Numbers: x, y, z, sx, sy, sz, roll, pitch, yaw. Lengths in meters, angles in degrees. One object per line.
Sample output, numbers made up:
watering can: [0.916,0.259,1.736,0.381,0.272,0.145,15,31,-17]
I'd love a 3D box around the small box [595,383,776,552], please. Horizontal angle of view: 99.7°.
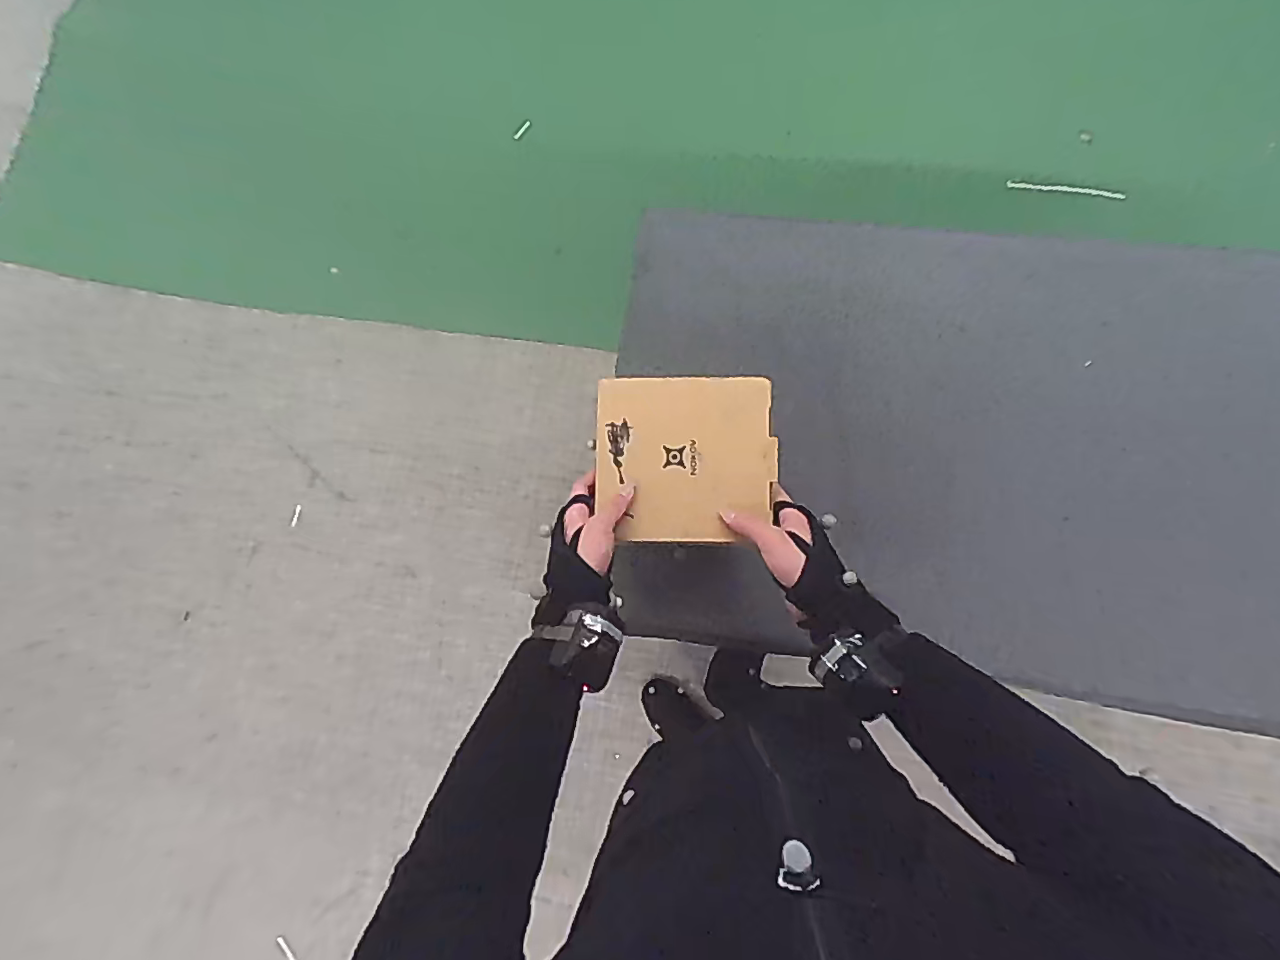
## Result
small box: [0.048,-0.005,0.607,0.179,0.176,0.168,0,82,3]
